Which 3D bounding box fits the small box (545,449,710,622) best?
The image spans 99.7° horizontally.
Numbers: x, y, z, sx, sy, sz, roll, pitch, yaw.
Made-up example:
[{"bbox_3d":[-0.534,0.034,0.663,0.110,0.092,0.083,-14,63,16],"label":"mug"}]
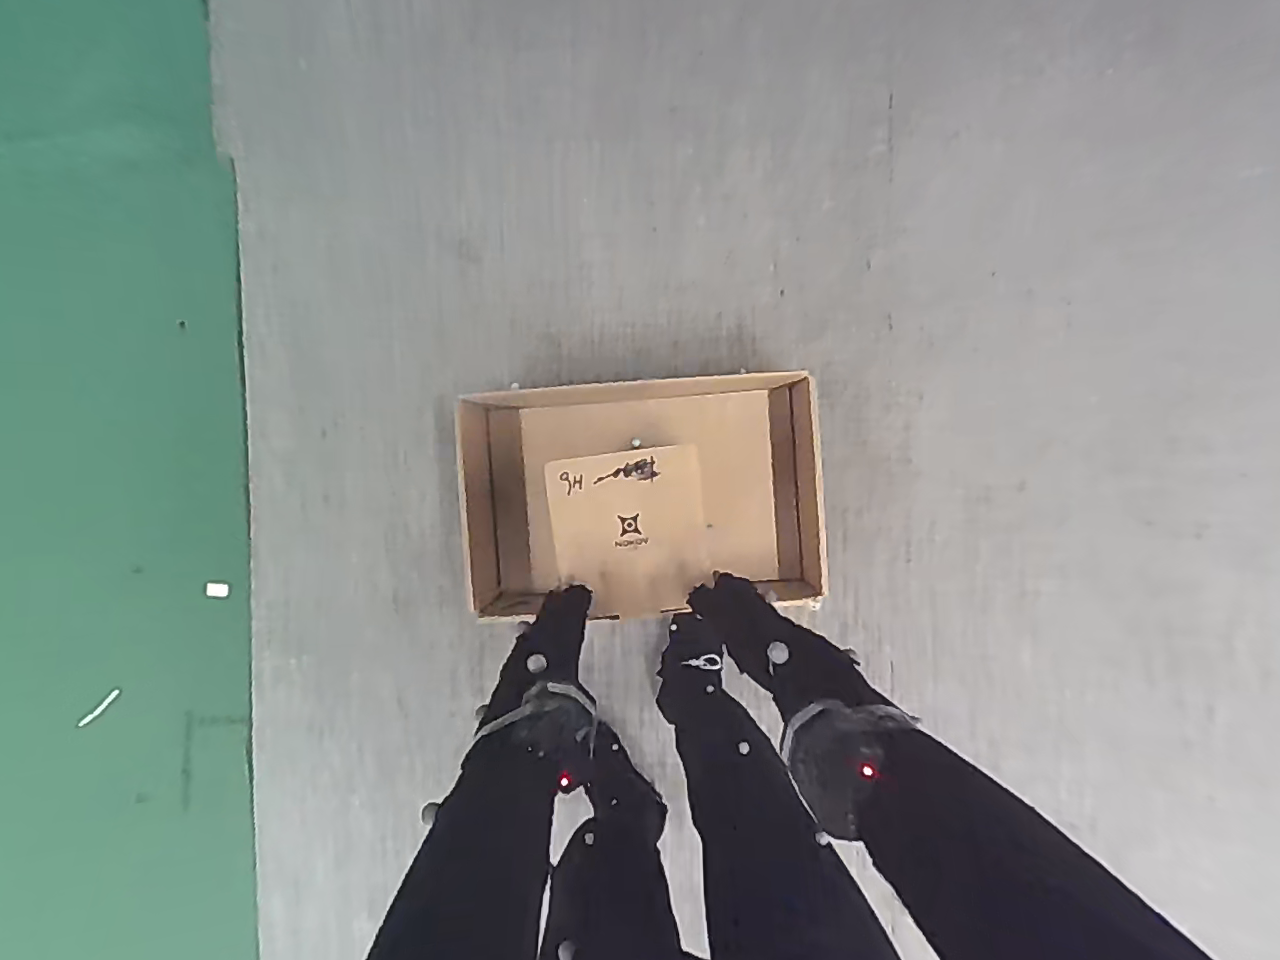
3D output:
[{"bbox_3d":[-0.007,0.056,0.651,0.168,0.176,0.179,-6,91,4],"label":"small box"}]
